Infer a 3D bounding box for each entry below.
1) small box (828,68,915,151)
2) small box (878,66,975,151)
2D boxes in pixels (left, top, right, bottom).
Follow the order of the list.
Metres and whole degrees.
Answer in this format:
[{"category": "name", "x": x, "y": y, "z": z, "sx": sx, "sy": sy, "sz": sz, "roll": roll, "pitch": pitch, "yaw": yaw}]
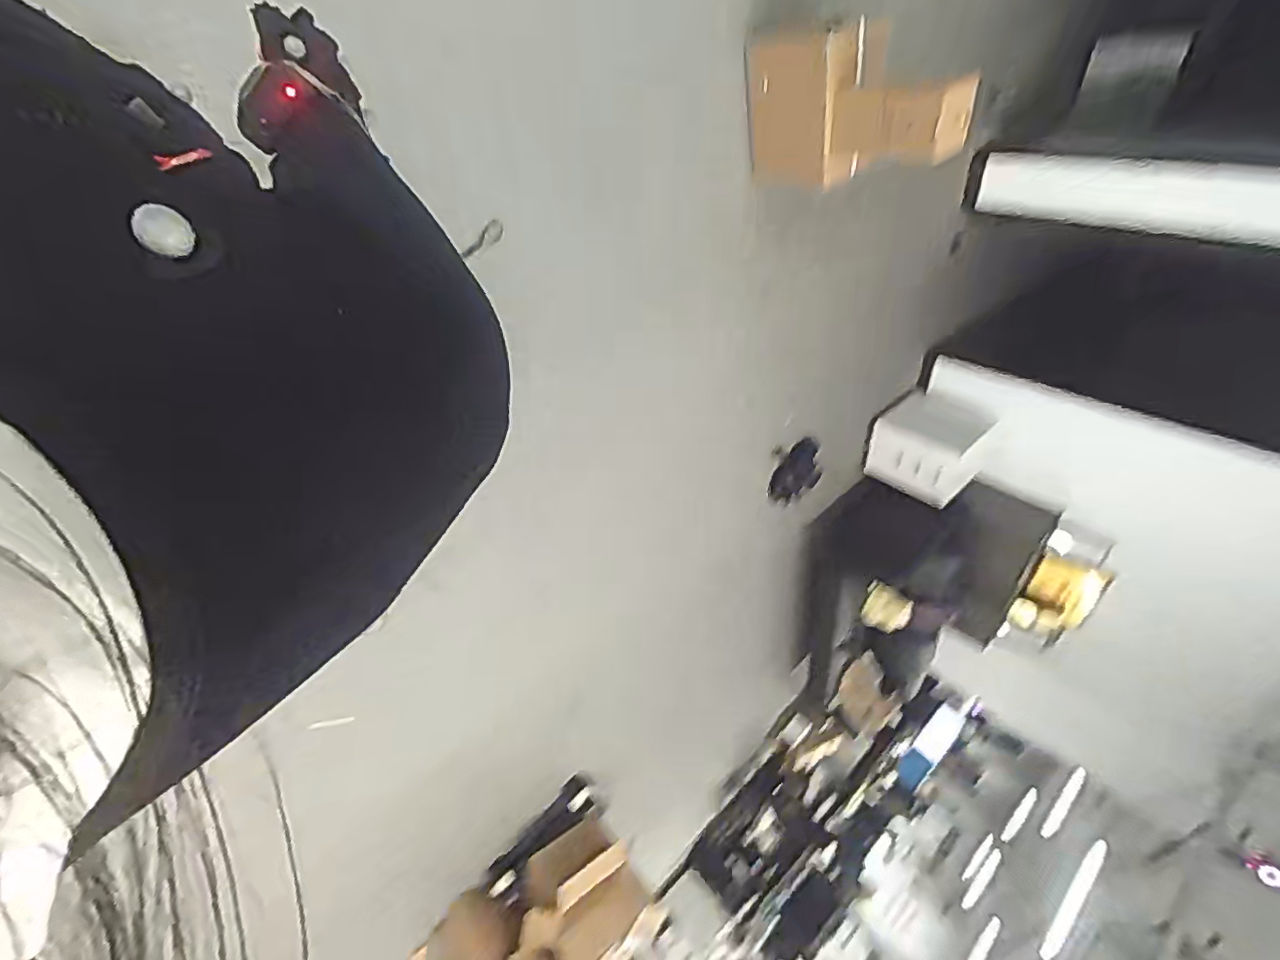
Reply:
[{"category": "small box", "x": 0.687, "y": -1.113, "z": 1.622, "sx": 0.168, "sy": 0.176, "sz": 0.179, "roll": -35, "pitch": 136, "yaw": -24}, {"category": "small box", "x": 0.798, "y": -1.044, "z": 1.524, "sx": 0.179, "sy": 0.176, "sz": 0.168, "roll": -35, "pitch": 137, "yaw": -22}]
